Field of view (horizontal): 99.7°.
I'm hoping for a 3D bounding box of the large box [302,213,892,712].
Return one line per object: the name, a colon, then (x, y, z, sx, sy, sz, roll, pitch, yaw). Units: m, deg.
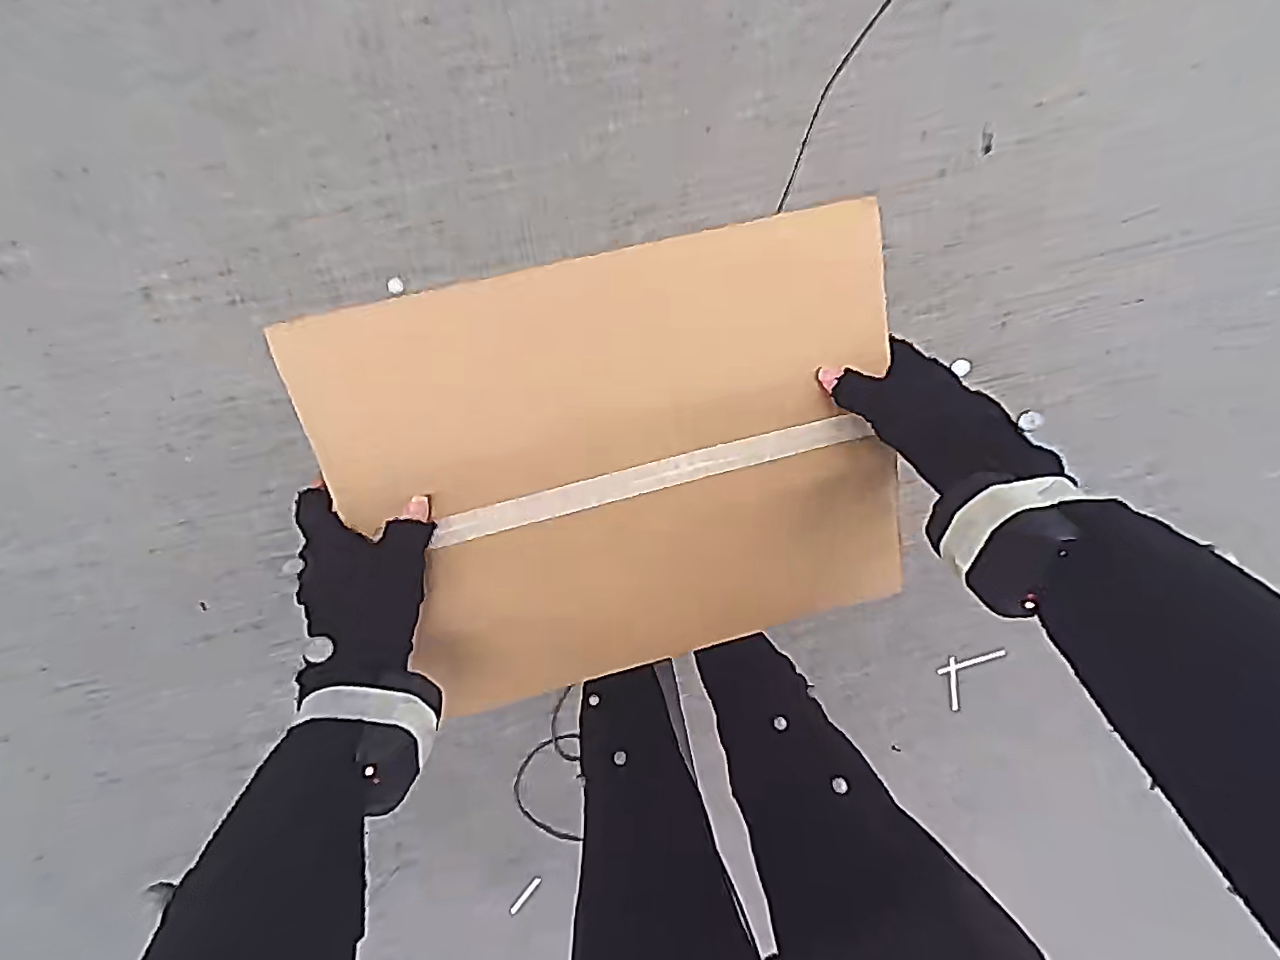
large box: (-0.024, -0.040, 0.553, 0.408, 0.320, 0.320, -14, 109, -5)
